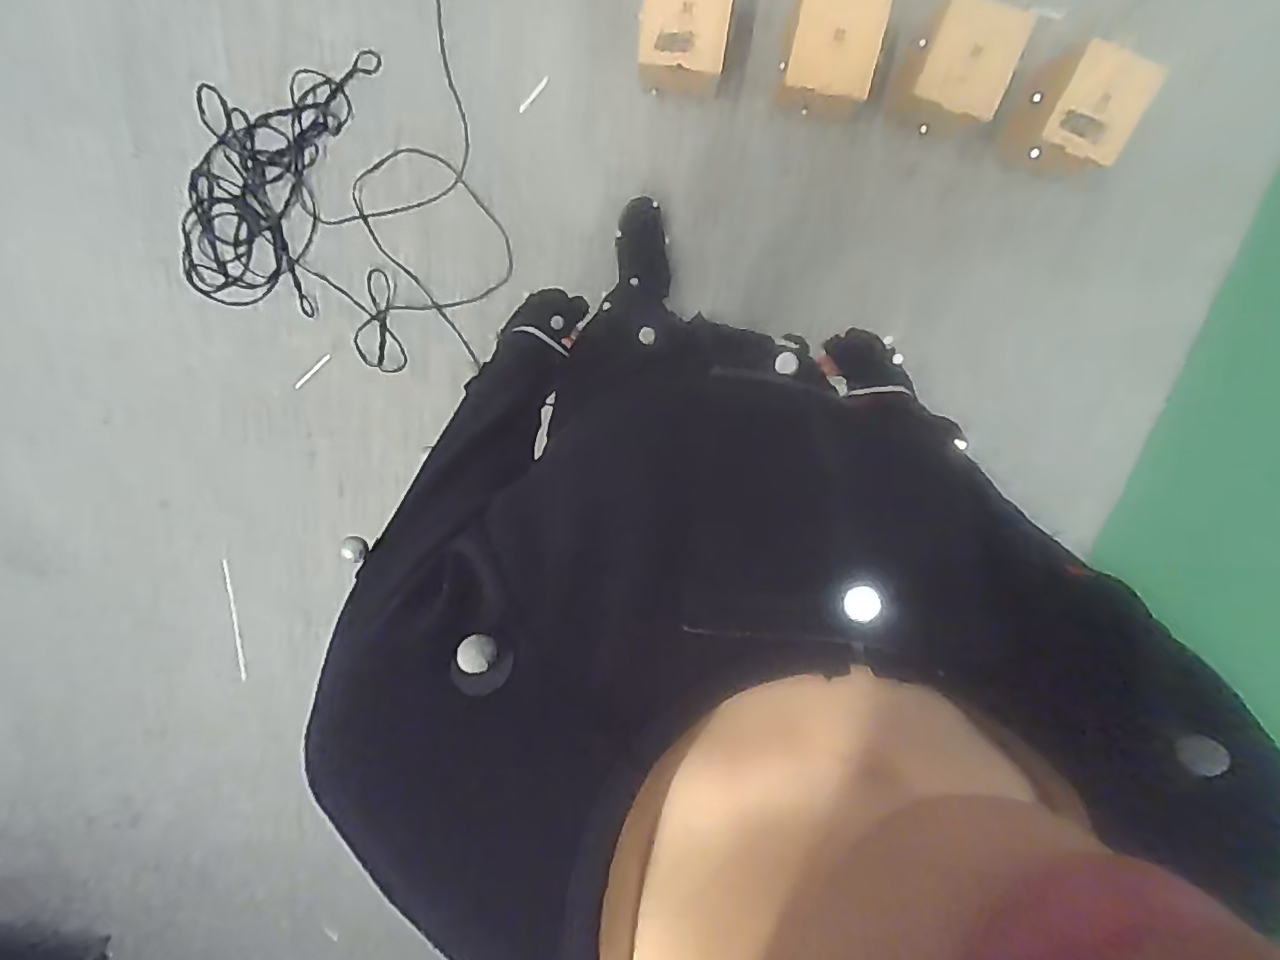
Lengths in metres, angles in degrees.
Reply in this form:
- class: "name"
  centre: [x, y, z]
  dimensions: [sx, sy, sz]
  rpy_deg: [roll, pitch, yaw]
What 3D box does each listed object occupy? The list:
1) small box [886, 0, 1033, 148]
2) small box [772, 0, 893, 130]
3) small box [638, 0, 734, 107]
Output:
- class: "small box"
  centre: [0.634, -0.814, 1.103]
  dimensions: [0.168, 0.176, 0.179]
  rpy_deg: [17, 110, -3]
- class: "small box"
  centre: [0.379, -0.848, 1.104]
  dimensions: [0.168, 0.176, 0.179]
  rpy_deg: [9, 110, -1]
- class: "small box"
  centre: [0.092, -0.891, 1.100]
  dimensions: [0.168, 0.176, 0.179]
  rpy_deg: [9, 109, -1]
